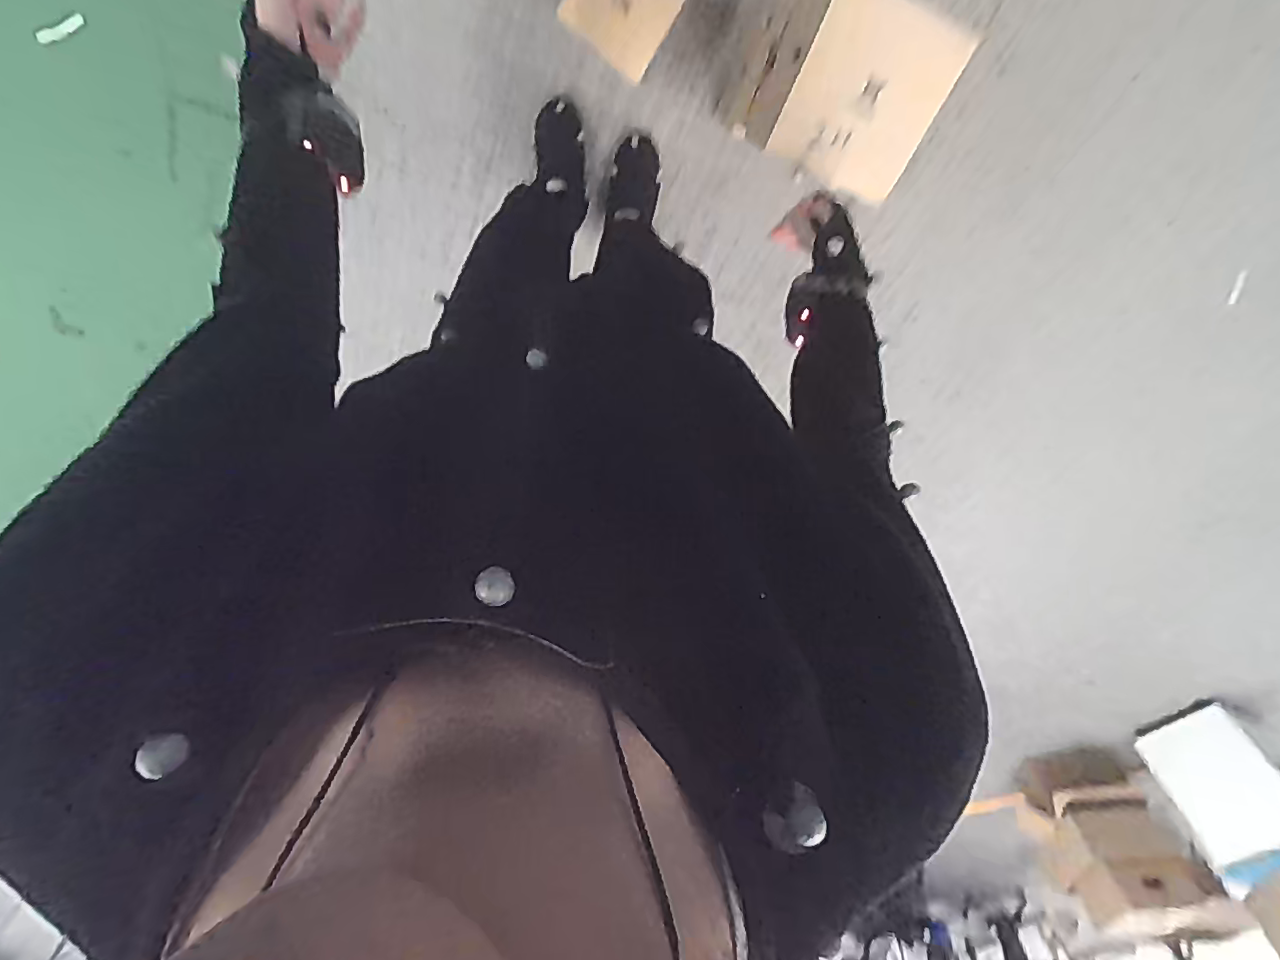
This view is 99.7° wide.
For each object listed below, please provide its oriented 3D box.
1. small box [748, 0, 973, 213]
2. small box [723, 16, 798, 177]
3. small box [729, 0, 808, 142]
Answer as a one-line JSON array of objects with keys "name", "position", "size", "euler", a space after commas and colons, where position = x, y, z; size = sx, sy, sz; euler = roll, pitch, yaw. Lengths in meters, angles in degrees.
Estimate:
[{"name": "small box", "position": [0.248, -0.463, 0.664], "size": [0.168, 0.176, 0.179], "euler": [18, 125, -12]}, {"name": "small box", "position": [0.254, -0.653, 0.933], "size": [0.168, 0.176, 0.179], "euler": [18, 125, -13]}, {"name": "small box", "position": [0.247, -0.562, 0.795], "size": [0.179, 0.176, 0.168], "euler": [19, 124, -13]}]
